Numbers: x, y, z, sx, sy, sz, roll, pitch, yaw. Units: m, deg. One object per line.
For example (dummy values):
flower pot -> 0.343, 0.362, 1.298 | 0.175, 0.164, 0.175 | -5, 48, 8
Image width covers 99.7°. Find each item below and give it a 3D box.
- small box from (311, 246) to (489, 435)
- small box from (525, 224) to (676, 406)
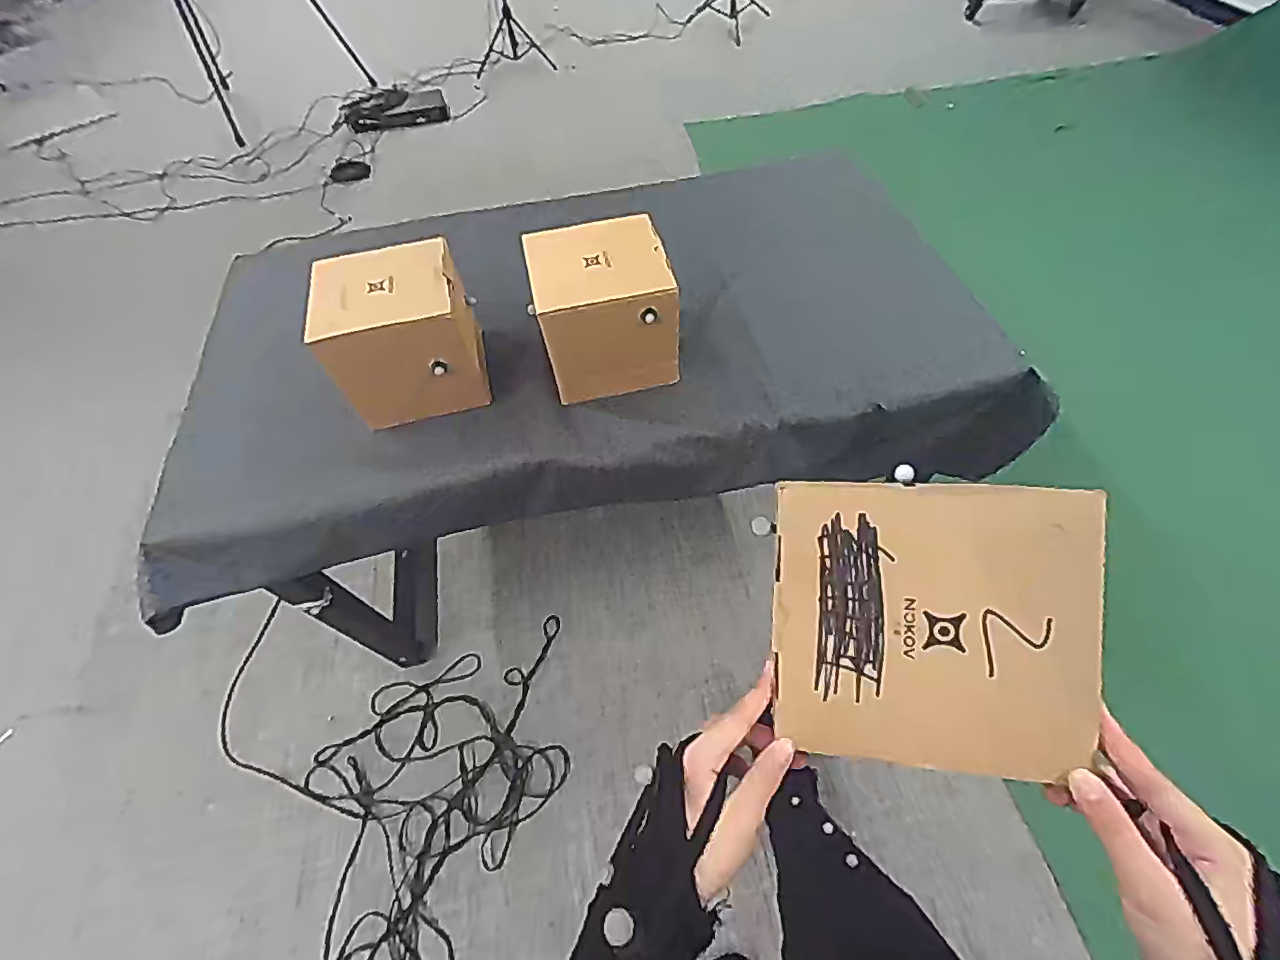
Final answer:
small box -> -0.318, -0.189, 0.751 | 0.179, 0.176, 0.168 | -15, 56, -5
small box -> -0.050, -0.224, 0.758 | 0.179, 0.176, 0.168 | -12, 56, -5
